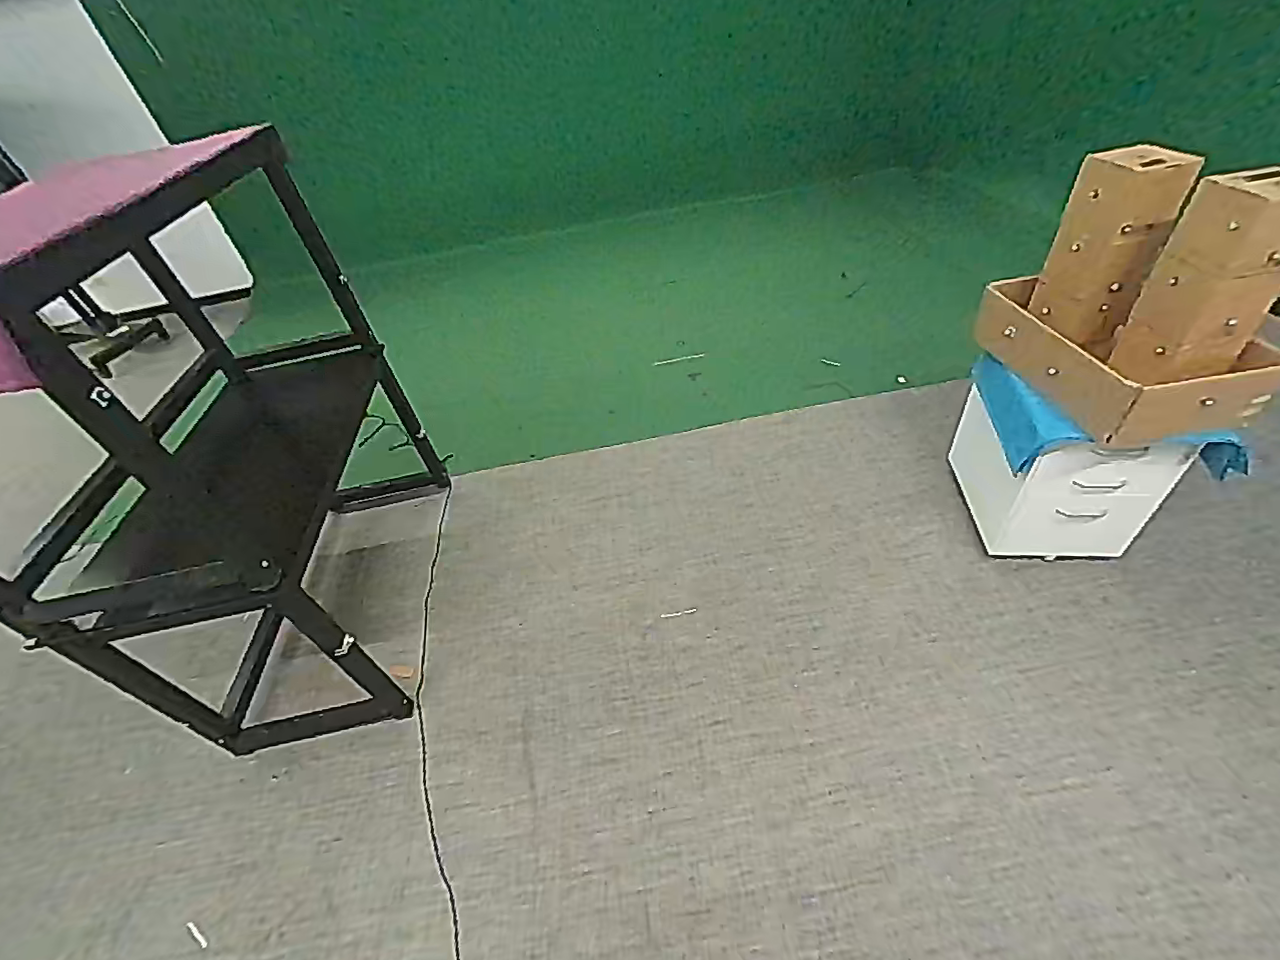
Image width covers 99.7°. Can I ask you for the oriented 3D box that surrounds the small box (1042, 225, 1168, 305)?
[{"bbox_3d":[1.281,-0.612,1.508,0.168,0.176,0.179,-13,44,-4],"label":"small box"}]

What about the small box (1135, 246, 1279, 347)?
[{"bbox_3d":[1.374,-0.445,1.313,0.168,0.176,0.179,-8,42,3],"label":"small box"}]

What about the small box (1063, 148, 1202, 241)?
[{"bbox_3d":[1.262,-0.735,1.402,0.168,0.176,0.179,-11,42,-1],"label":"small box"}]
